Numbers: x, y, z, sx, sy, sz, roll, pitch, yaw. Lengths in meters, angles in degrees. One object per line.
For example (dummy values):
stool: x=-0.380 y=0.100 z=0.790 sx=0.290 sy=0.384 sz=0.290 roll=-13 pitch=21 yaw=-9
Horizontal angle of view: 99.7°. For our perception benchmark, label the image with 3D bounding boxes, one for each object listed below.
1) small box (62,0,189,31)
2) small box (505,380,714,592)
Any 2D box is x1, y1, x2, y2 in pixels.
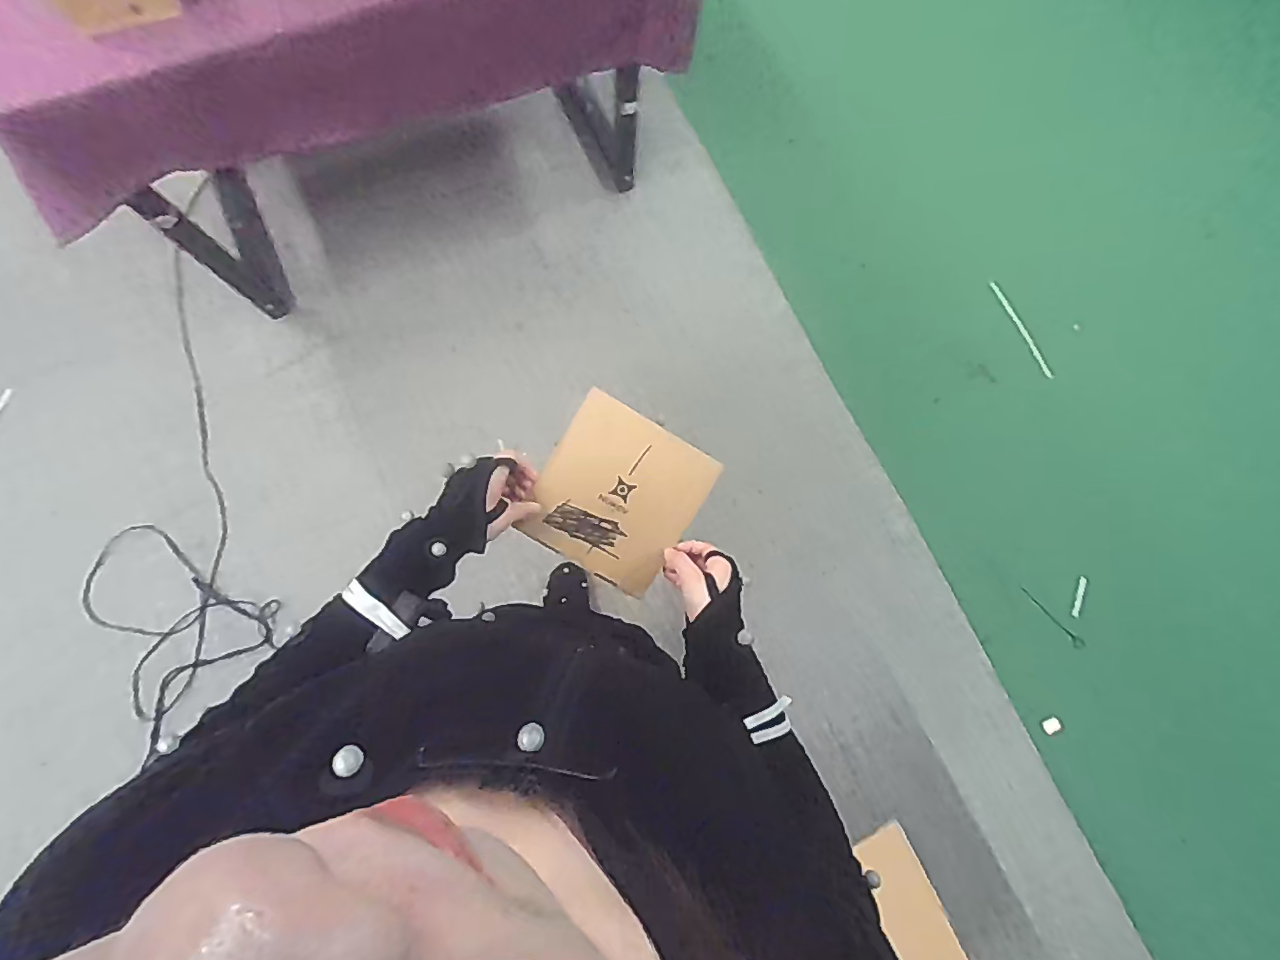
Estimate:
small box: x=-0.873 y=-0.866 z=0.864 sx=0.168 sy=0.176 sz=0.179 roll=-20 pitch=79 yaw=-7
small box: x=-0.035 y=0.000 z=0.653 sx=0.168 sy=0.176 sz=0.179 roll=31 pitch=95 yaw=-6
